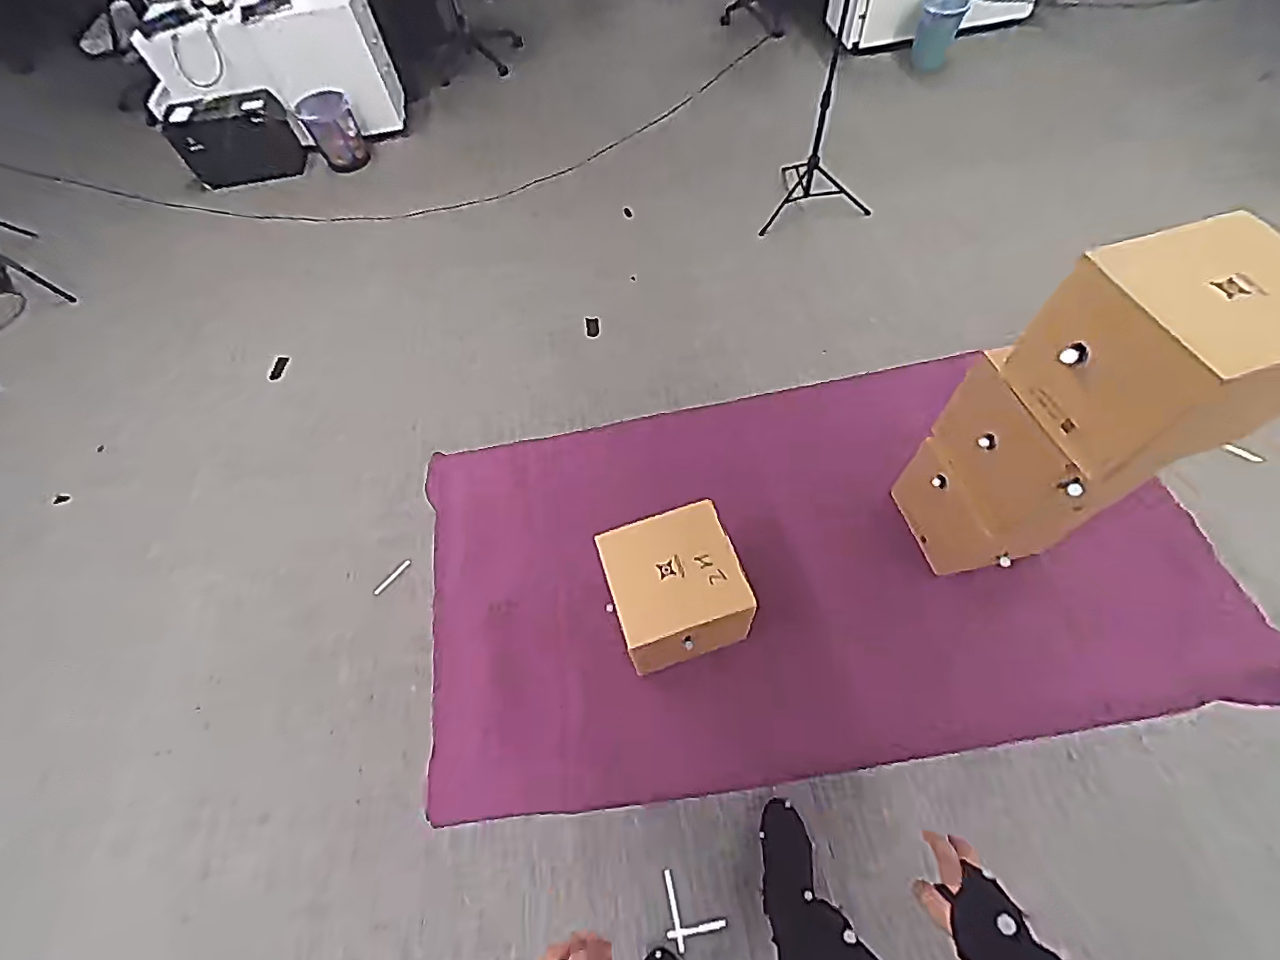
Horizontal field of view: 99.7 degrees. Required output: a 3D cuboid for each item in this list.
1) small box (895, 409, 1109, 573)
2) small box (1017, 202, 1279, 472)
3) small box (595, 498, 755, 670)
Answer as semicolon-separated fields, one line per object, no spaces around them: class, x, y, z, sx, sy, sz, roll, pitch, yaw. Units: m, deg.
small box;0.525;0.022;0.817;0.179;0.176;0.168;-13;59;-3
small box;0.514;-0.129;0.526;0.179;0.176;0.168;-16;59;-5
small box;0.048;0.156;0.779;0.179;0.176;0.168;-17;59;-6
